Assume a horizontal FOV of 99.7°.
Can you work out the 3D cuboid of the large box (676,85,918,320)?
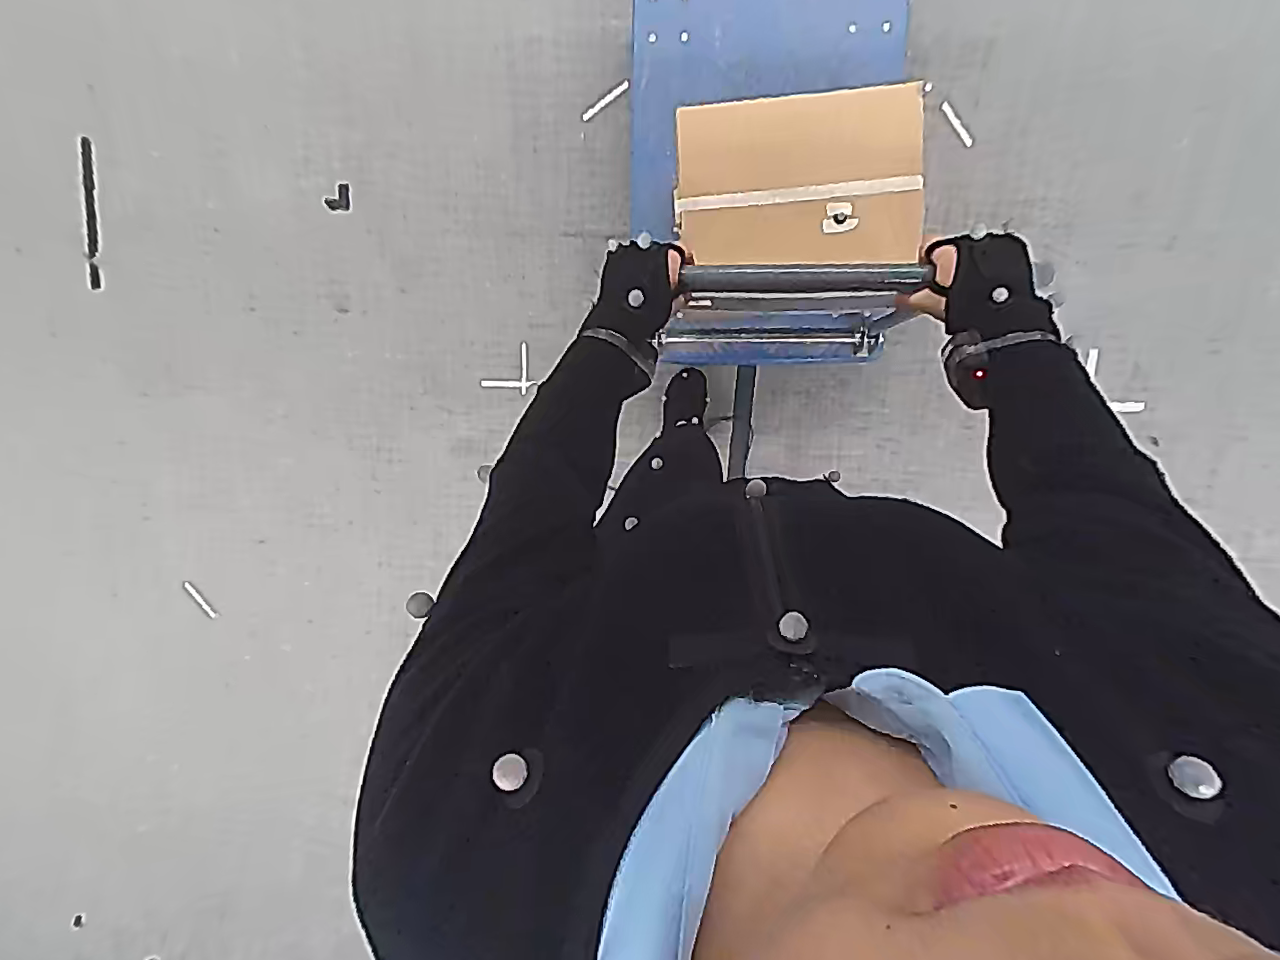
[{"bbox_3d":[0.284,-0.515,1.082,0.408,0.320,0.320,-3,99,5],"label":"large box"}]
